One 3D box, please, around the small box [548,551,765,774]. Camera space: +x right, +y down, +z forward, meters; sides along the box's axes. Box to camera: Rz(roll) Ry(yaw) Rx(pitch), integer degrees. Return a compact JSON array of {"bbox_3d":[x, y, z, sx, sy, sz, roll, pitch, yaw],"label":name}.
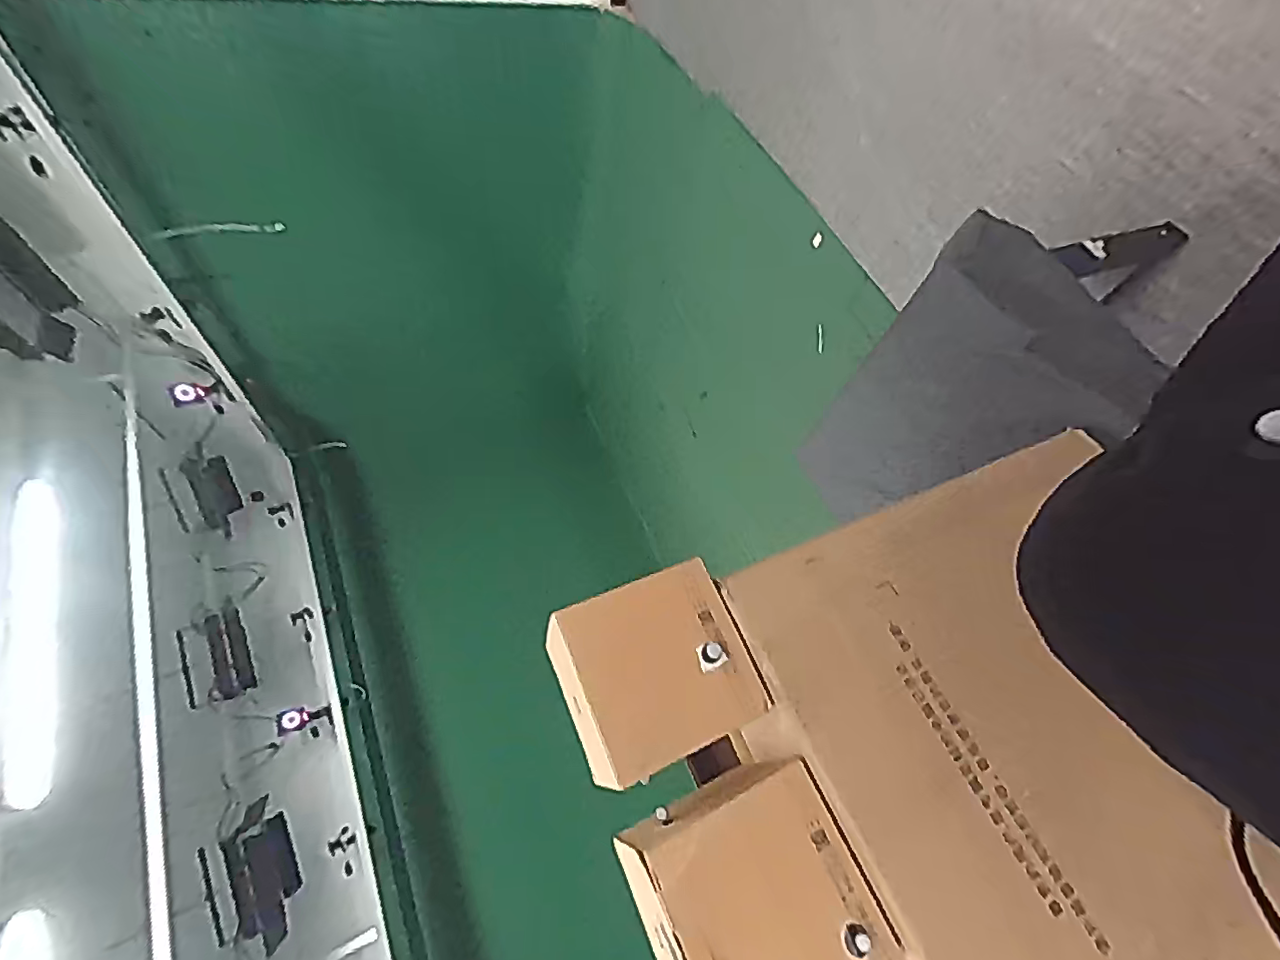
[{"bbox_3d":[0.009,0.201,0.596,0.168,0.176,0.179,63,156,21],"label":"small box"}]
